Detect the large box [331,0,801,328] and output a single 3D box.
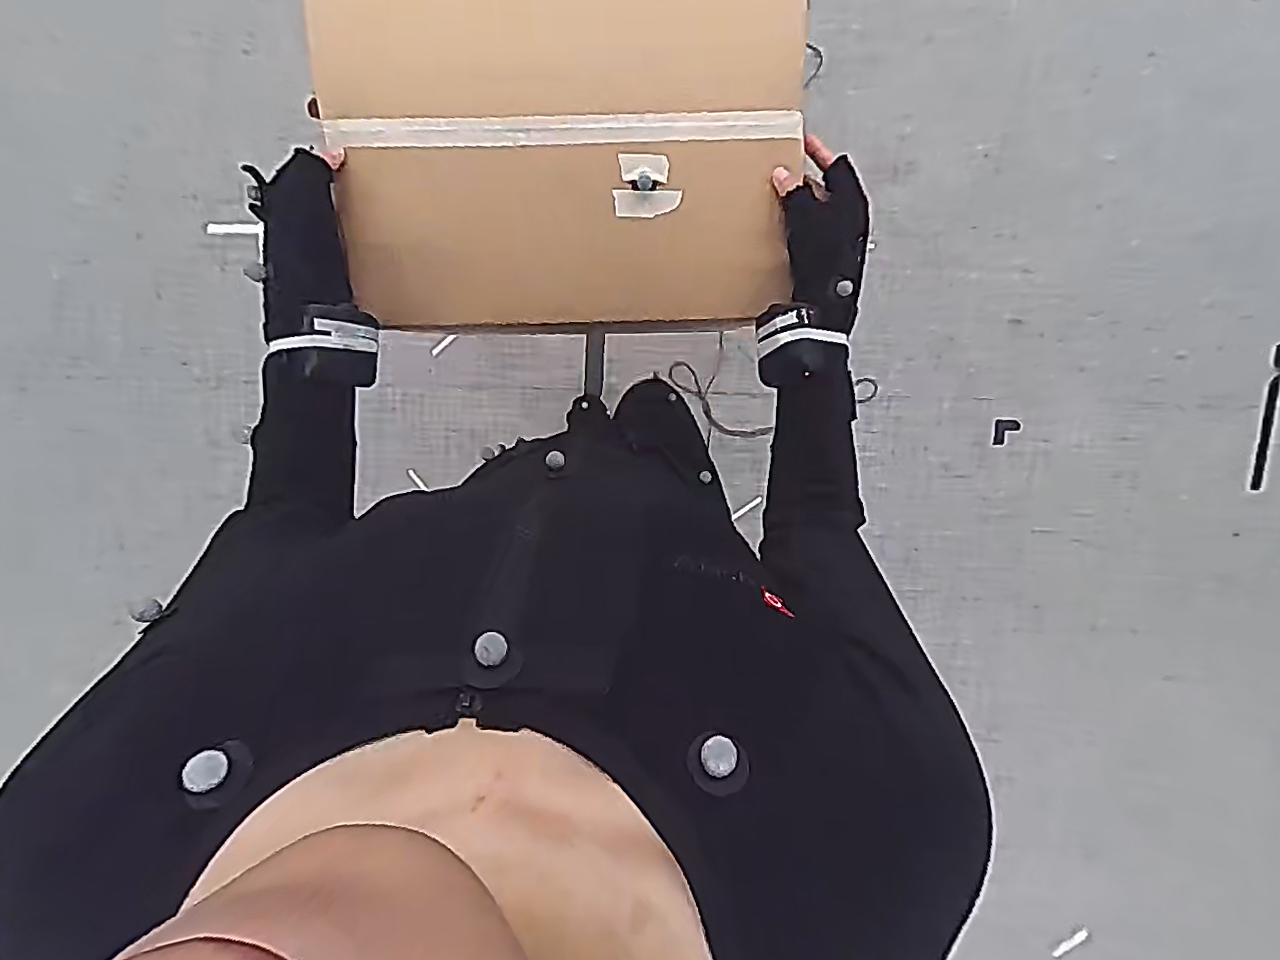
[{"bbox_3d":[-0.064,-0.348,0.622,0.408,0.320,0.320,-2,105,-2],"label":"large box"}]
